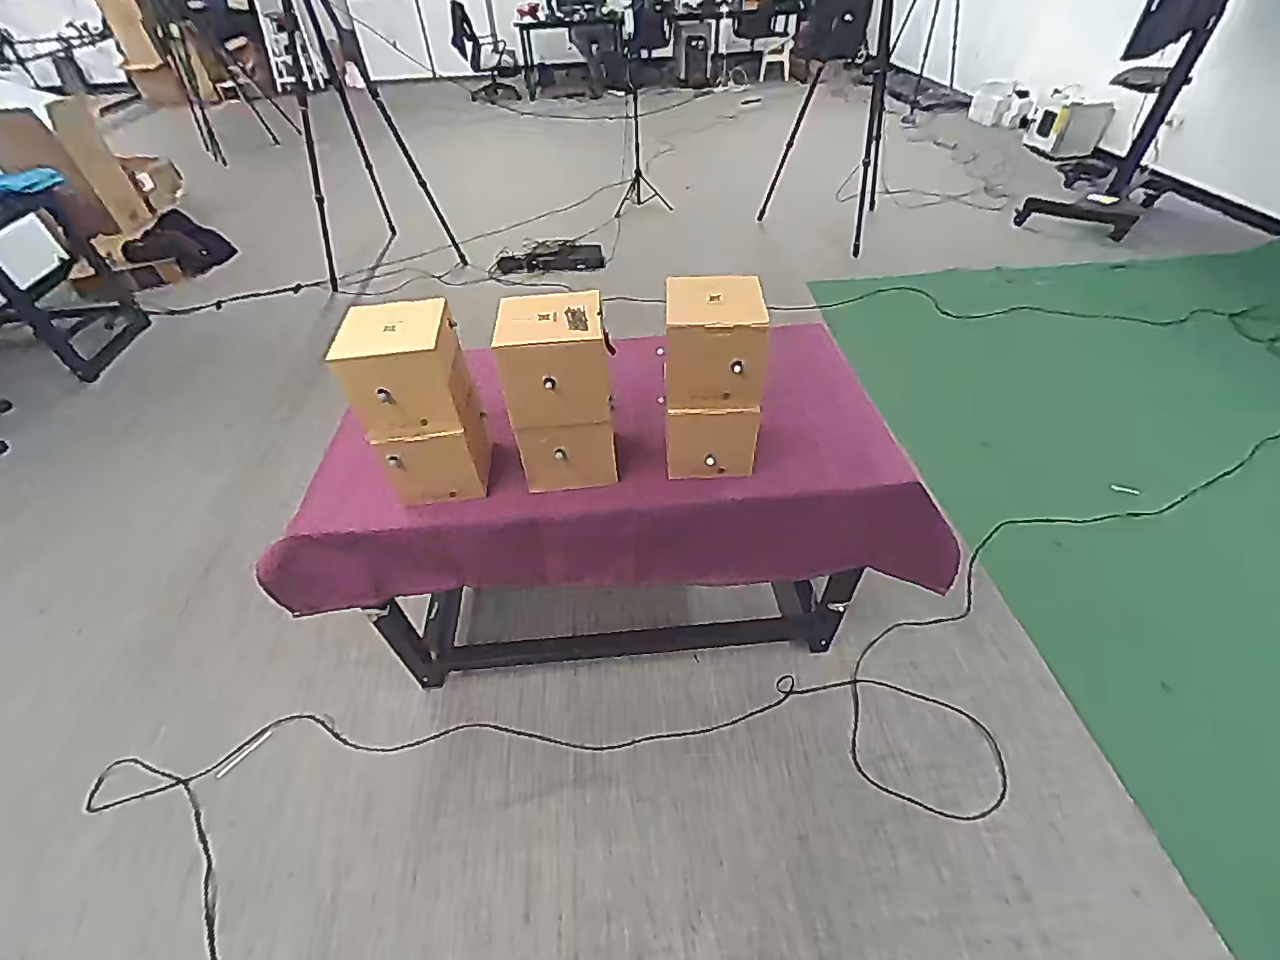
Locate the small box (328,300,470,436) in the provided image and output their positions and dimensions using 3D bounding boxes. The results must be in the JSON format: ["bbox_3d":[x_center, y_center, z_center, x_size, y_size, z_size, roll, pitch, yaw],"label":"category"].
[{"bbox_3d":[-0.406,-0.190,0.947,0.168,0.176,0.179,-8,44,-4],"label":"small box"}]

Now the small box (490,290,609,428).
[{"bbox_3d":[-0.146,-0.209,0.944,0.179,0.176,0.168,-6,45,0],"label":"small box"}]

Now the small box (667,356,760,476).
[{"bbox_3d":[0.136,-0.126,1.072,0.168,0.176,0.179,-2,45,3],"label":"small box"}]

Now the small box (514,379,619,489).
[{"bbox_3d":[-0.139,-0.097,1.065,0.179,0.176,0.168,-6,46,-2],"label":"small box"}]
